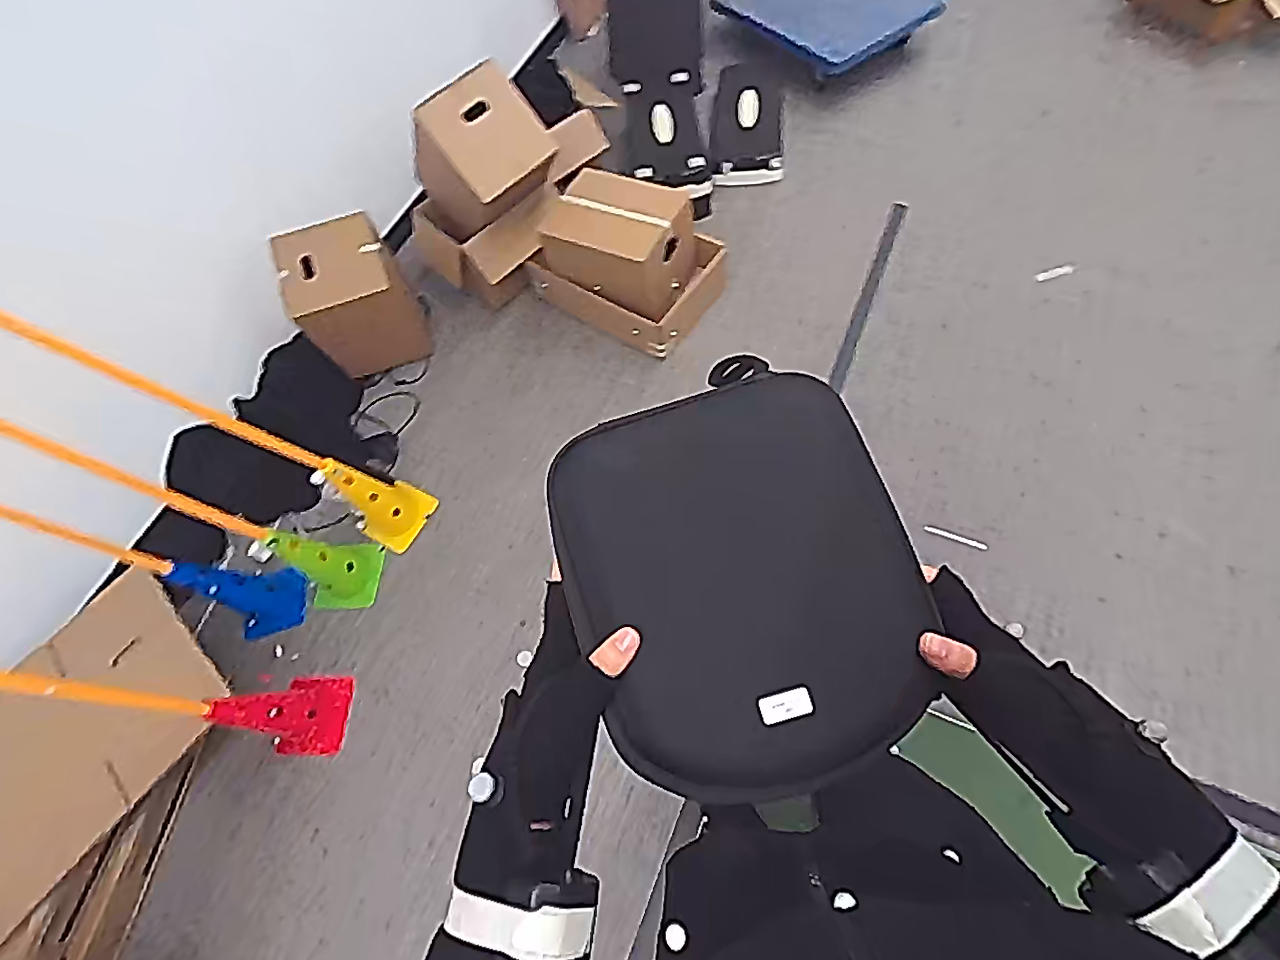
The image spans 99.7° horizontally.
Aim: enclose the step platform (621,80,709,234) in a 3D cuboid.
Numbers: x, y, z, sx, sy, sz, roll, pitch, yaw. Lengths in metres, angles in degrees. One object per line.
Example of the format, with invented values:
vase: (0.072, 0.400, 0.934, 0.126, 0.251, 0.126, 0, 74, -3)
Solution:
step platform: (0.095, -1.321, 2.185, 0.286, 0.204, 0.684, -9, 64, 6)
